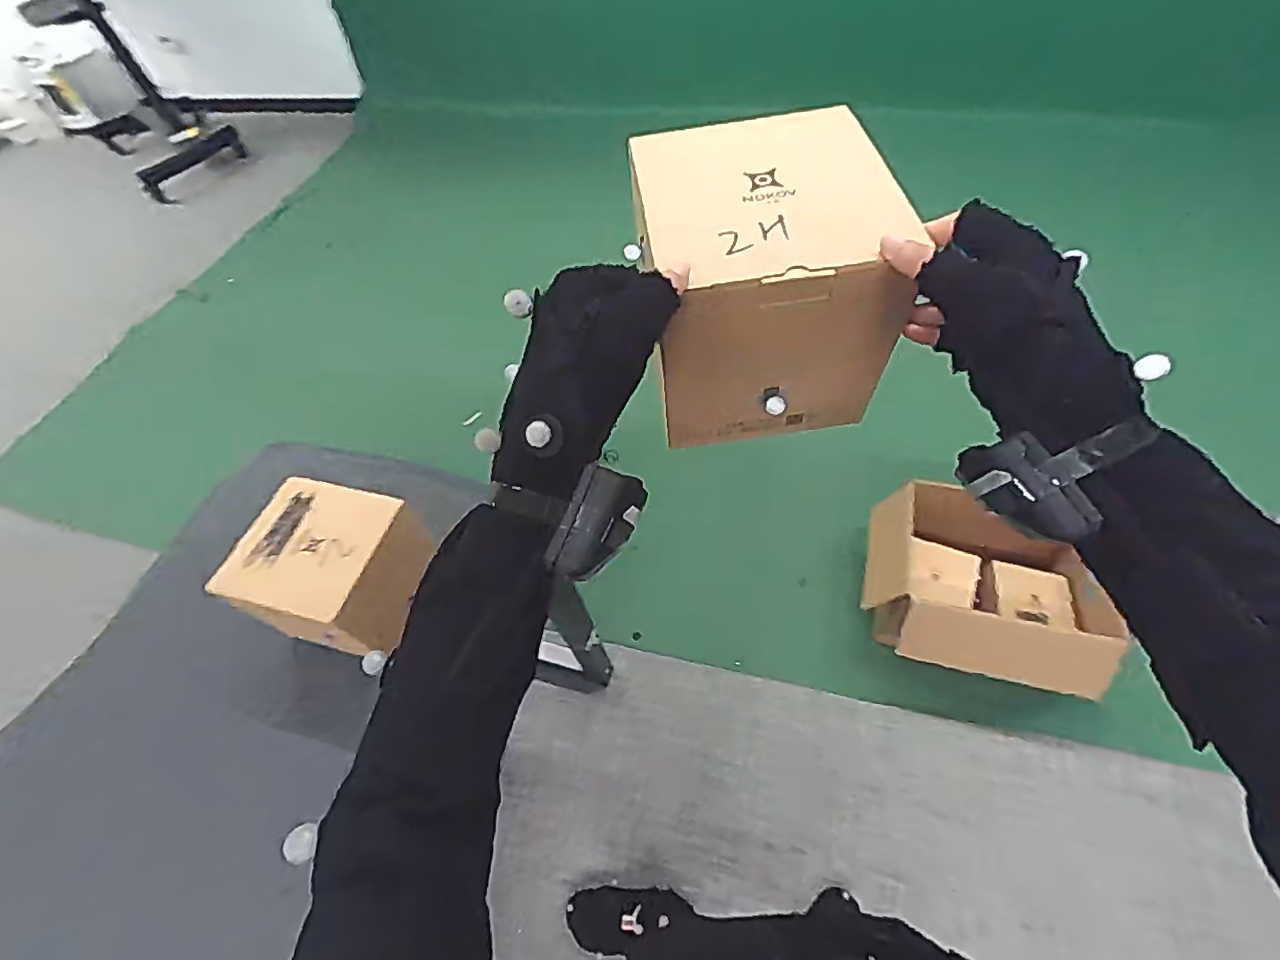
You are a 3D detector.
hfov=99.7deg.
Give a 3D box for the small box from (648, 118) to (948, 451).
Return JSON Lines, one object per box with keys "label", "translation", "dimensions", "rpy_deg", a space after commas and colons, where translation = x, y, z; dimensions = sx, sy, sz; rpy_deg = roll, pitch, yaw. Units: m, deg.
{"label": "small box", "translation": [0.098, -0.146, 0.428], "dimensions": [0.168, 0.176, 0.179], "rpy_deg": [-8, 59, 1]}
